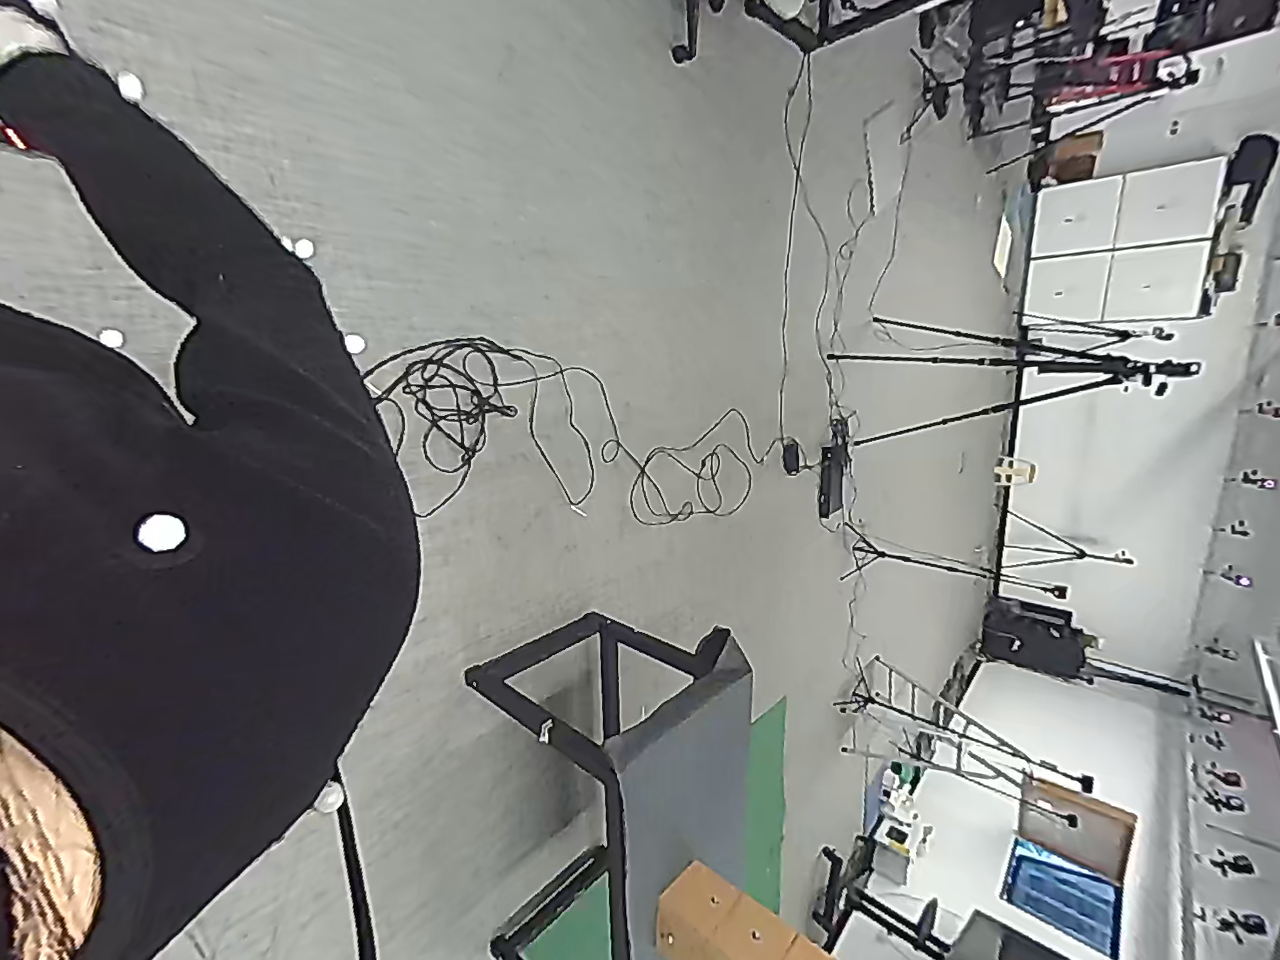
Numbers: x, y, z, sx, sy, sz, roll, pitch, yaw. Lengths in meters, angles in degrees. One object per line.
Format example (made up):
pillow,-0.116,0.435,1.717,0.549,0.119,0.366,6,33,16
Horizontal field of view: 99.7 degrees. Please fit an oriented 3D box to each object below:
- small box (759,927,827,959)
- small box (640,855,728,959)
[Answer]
small box,0.370,1.242,1.295,0.179,0.176,0.168,-14,109,-48
small box,0.122,1.200,1.504,0.179,0.176,0.168,-8,103,-48
